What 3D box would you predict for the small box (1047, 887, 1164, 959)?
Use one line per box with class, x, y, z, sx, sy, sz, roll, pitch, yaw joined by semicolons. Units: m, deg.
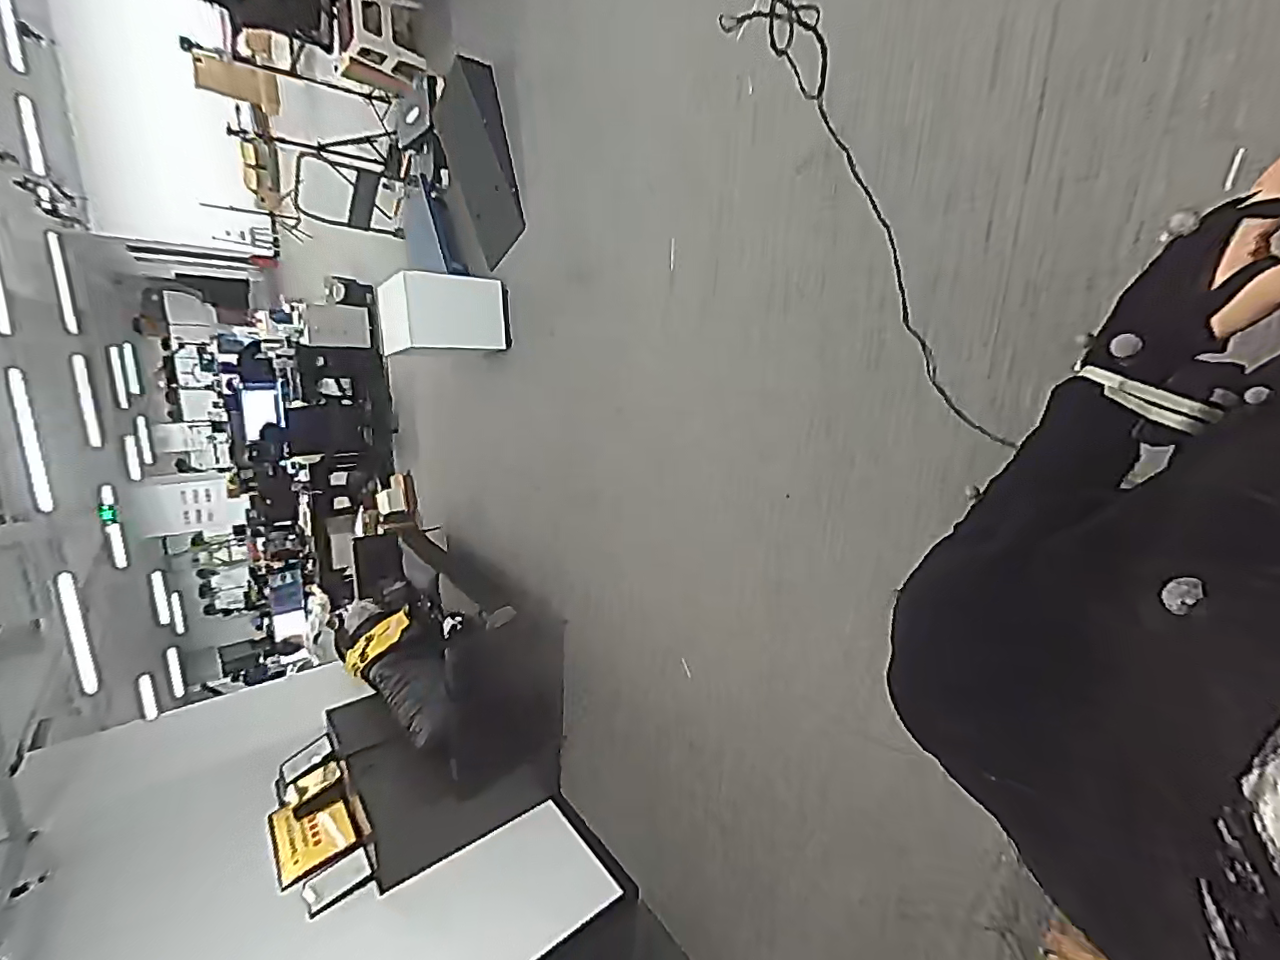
small box;1.069;1.103;1.246;0.168;0.176;0.179;21;113;49
